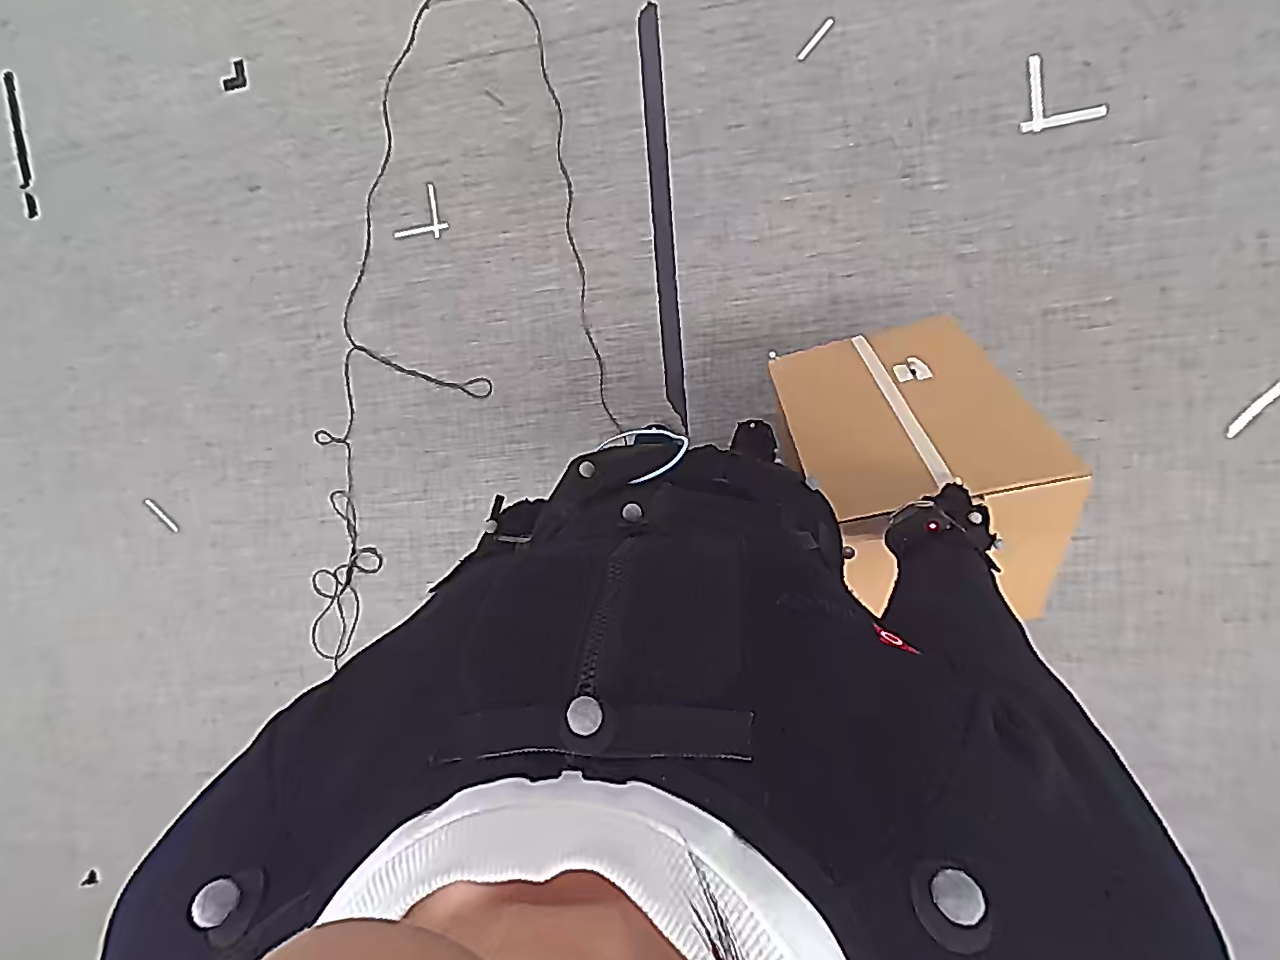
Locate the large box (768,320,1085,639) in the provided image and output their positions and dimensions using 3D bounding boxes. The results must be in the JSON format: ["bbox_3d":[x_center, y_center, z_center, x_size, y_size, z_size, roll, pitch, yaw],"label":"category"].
[{"bbox_3d":[0.430,-0.006,0.913,0.320,0.408,0.320,-13,131,10],"label":"large box"}]
